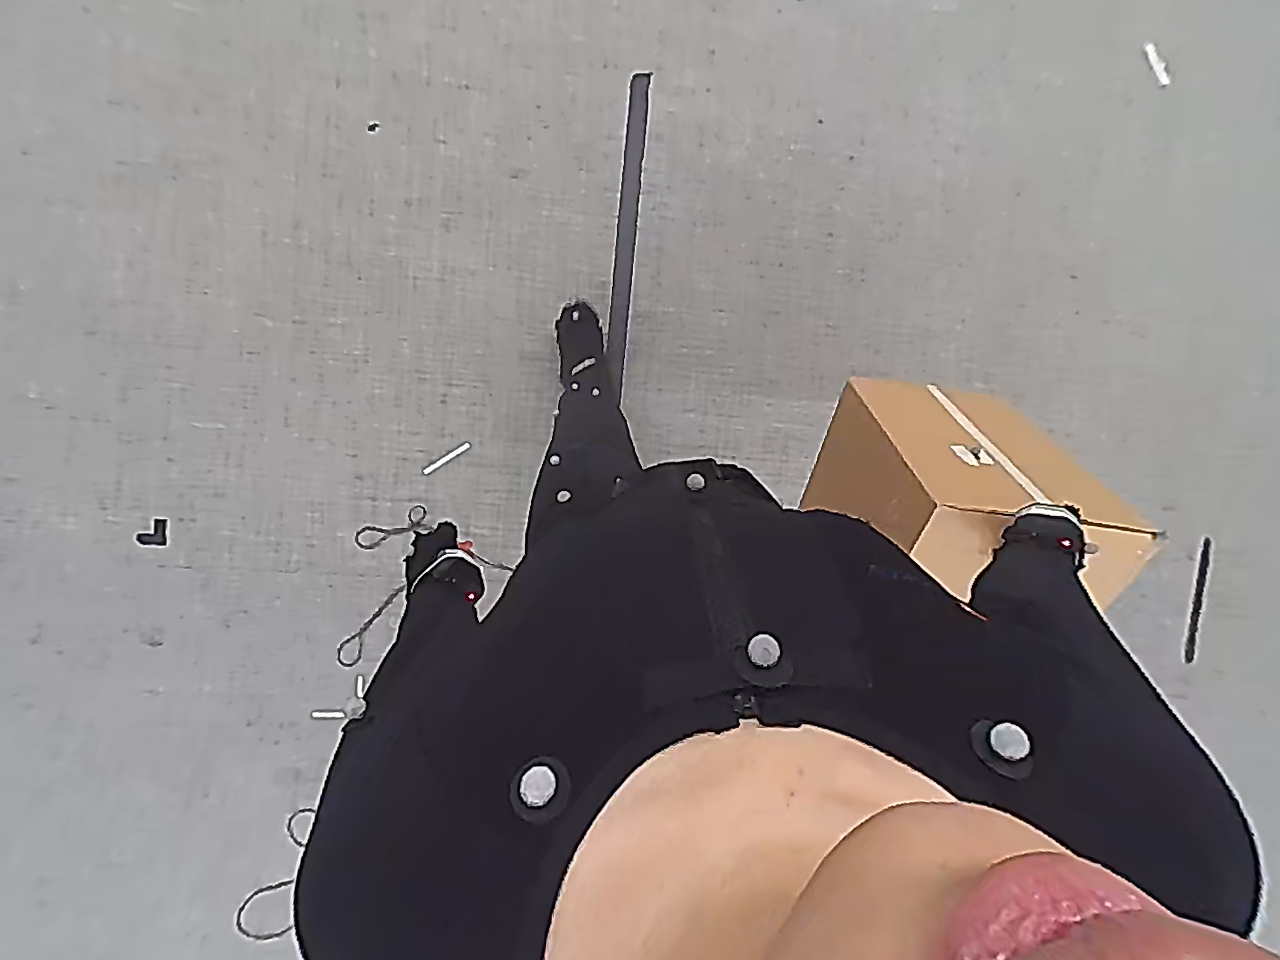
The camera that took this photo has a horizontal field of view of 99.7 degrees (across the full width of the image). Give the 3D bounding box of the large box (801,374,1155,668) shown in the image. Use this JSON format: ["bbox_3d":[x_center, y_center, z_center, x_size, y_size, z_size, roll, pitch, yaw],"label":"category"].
[{"bbox_3d":[0.517,0.056,0.952,0.320,0.408,0.320,7,126,-3],"label":"large box"}]
